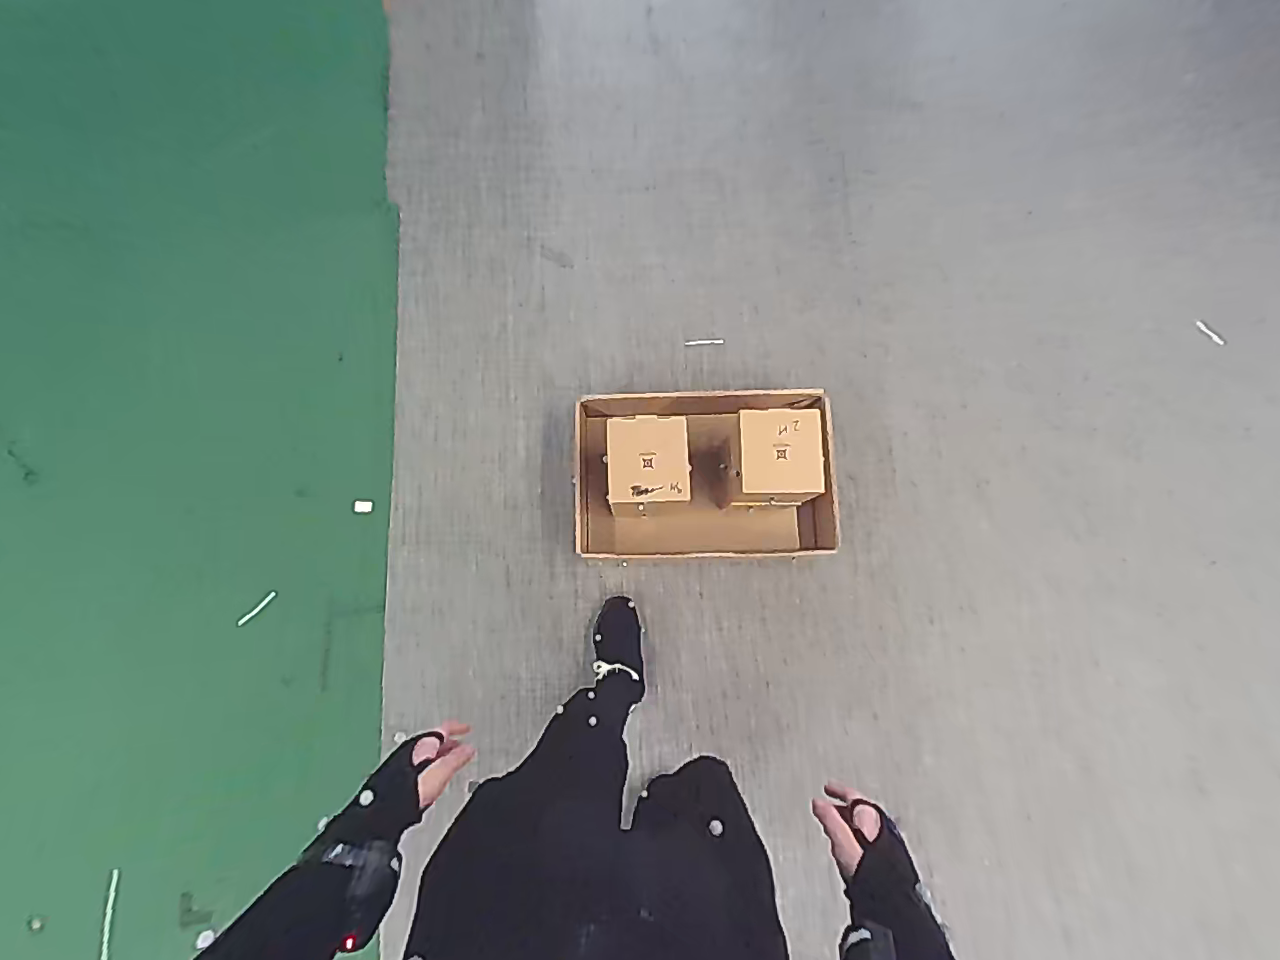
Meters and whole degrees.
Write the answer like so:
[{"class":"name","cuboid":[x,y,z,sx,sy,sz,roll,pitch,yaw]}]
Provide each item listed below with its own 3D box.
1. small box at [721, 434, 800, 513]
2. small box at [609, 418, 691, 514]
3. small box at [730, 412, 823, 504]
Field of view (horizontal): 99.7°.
[{"class":"small box","cuboid":[0.291,-0.010,1.333,0.168,0.176,0.179,0,81,2]},{"class":"small box","cuboid":[0.018,-0.025,1.169,0.168,0.176,0.179,-2,80,0]},{"class":"small box","cuboid":[0.288,-0.040,1.170,0.168,0.176,0.179,0,80,1]}]
